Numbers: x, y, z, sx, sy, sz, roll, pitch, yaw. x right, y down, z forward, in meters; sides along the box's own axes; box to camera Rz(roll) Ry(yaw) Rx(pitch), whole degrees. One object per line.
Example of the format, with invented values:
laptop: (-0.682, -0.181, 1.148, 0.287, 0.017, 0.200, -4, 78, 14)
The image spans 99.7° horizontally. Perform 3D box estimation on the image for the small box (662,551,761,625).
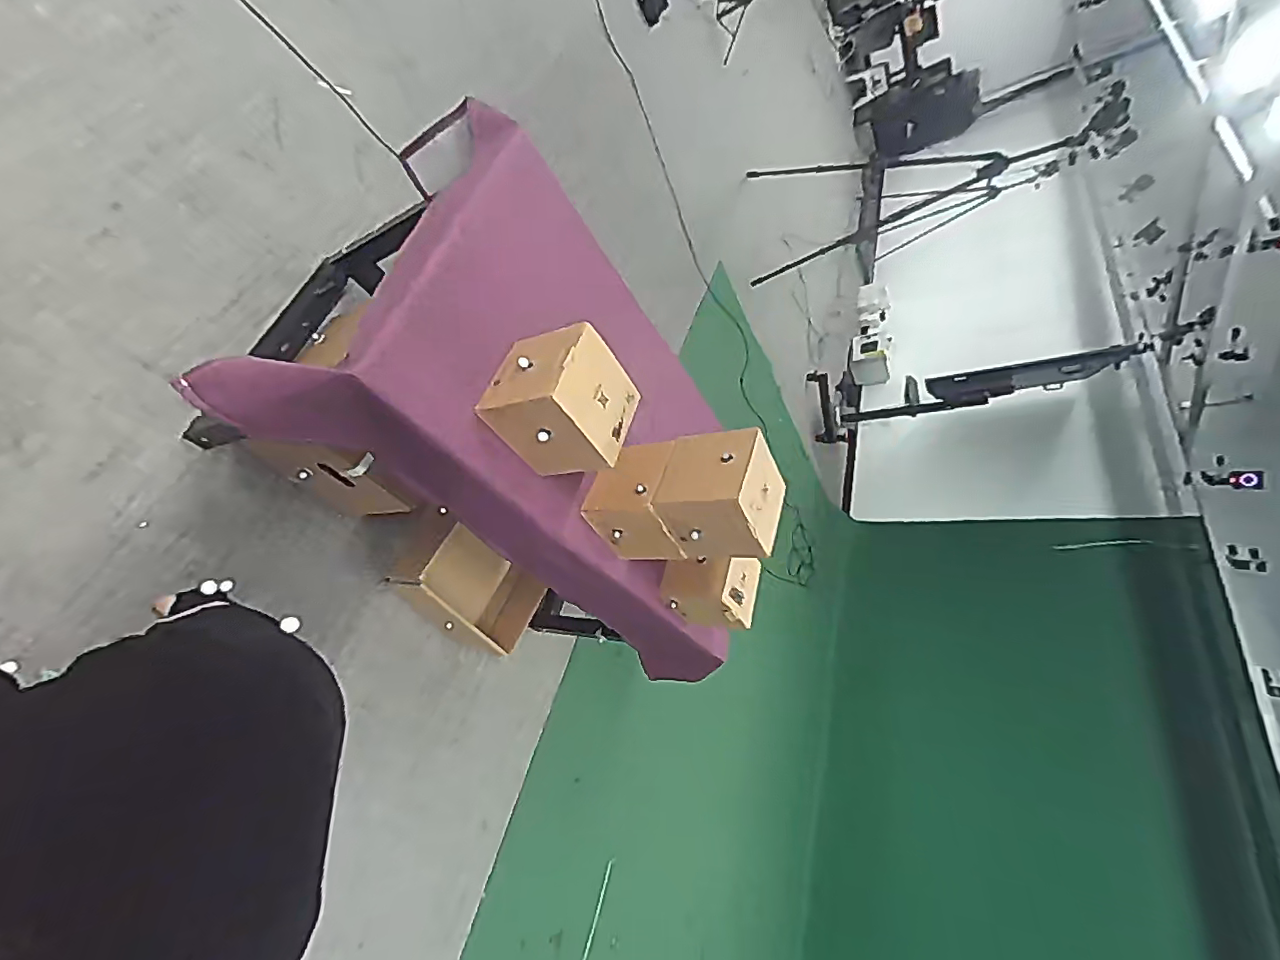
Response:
small box: (0.172, 0.231, 1.307, 0.168, 0.176, 0.179, 50, 47, -40)

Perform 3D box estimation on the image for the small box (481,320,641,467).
small box: (-0.131, -0.133, 0.908, 0.179, 0.176, 0.168, 50, 49, -40)

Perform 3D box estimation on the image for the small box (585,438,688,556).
small box: (0.015, 0.036, 1.106, 0.168, 0.176, 0.179, 54, 46, -37)

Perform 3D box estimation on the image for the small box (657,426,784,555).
small box: (0.153, 0.022, 1.016, 0.168, 0.176, 0.179, 55, 45, -36)
